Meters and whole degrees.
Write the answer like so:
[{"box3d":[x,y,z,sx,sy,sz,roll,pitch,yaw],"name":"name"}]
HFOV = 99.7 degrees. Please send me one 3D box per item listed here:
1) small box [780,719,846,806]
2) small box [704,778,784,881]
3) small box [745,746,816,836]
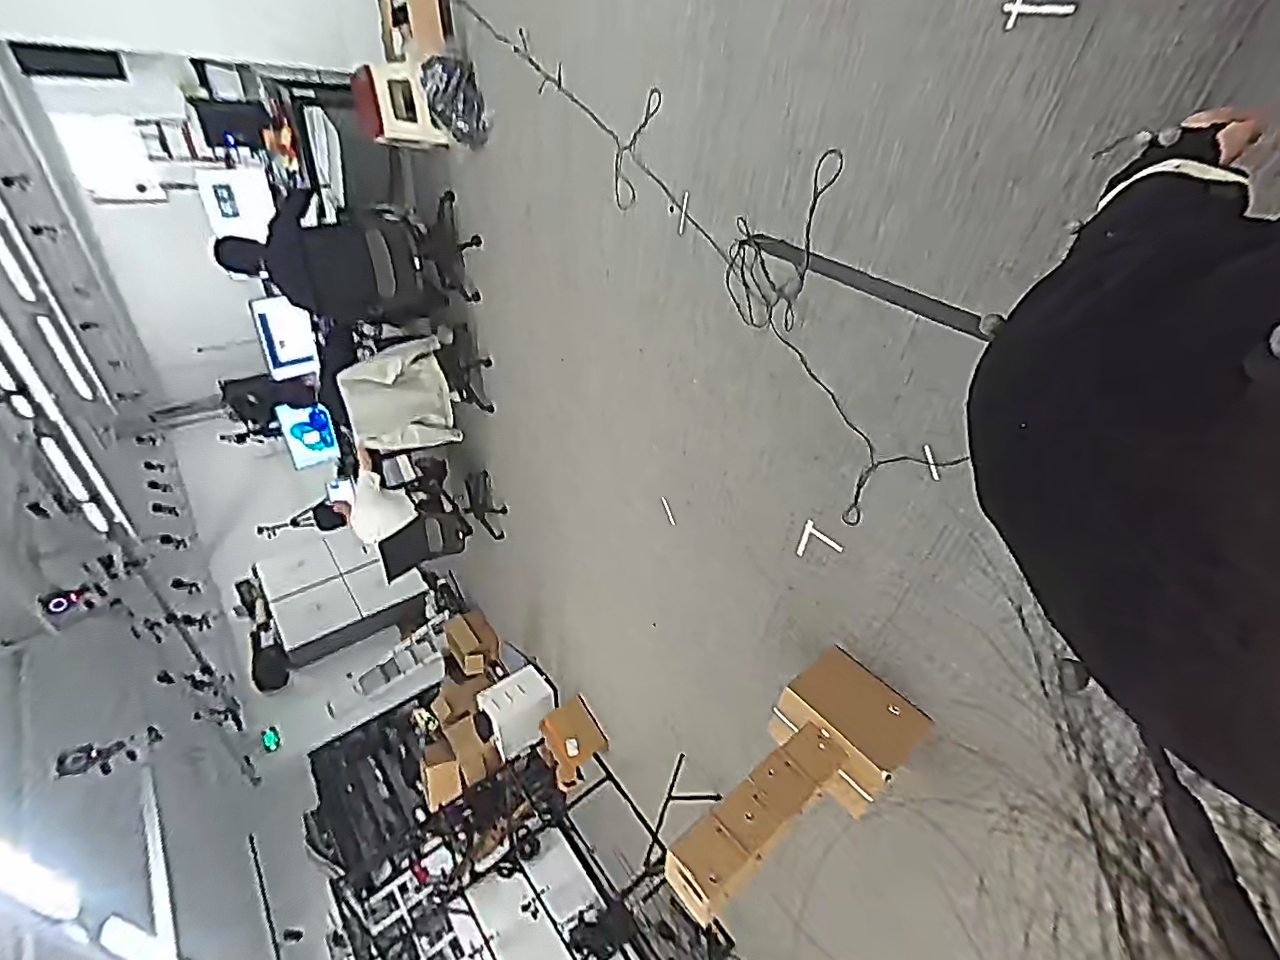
[{"box3d":[0.572,0.958,1.837,0.168,0.176,0.179,38,136,36],"name":"small box"},{"box3d":[0.320,1.062,1.656,0.168,0.176,0.179,34,134,41],"name":"small box"},{"box3d":[0.445,1.004,1.748,0.168,0.176,0.179,38,137,38],"name":"small box"}]
